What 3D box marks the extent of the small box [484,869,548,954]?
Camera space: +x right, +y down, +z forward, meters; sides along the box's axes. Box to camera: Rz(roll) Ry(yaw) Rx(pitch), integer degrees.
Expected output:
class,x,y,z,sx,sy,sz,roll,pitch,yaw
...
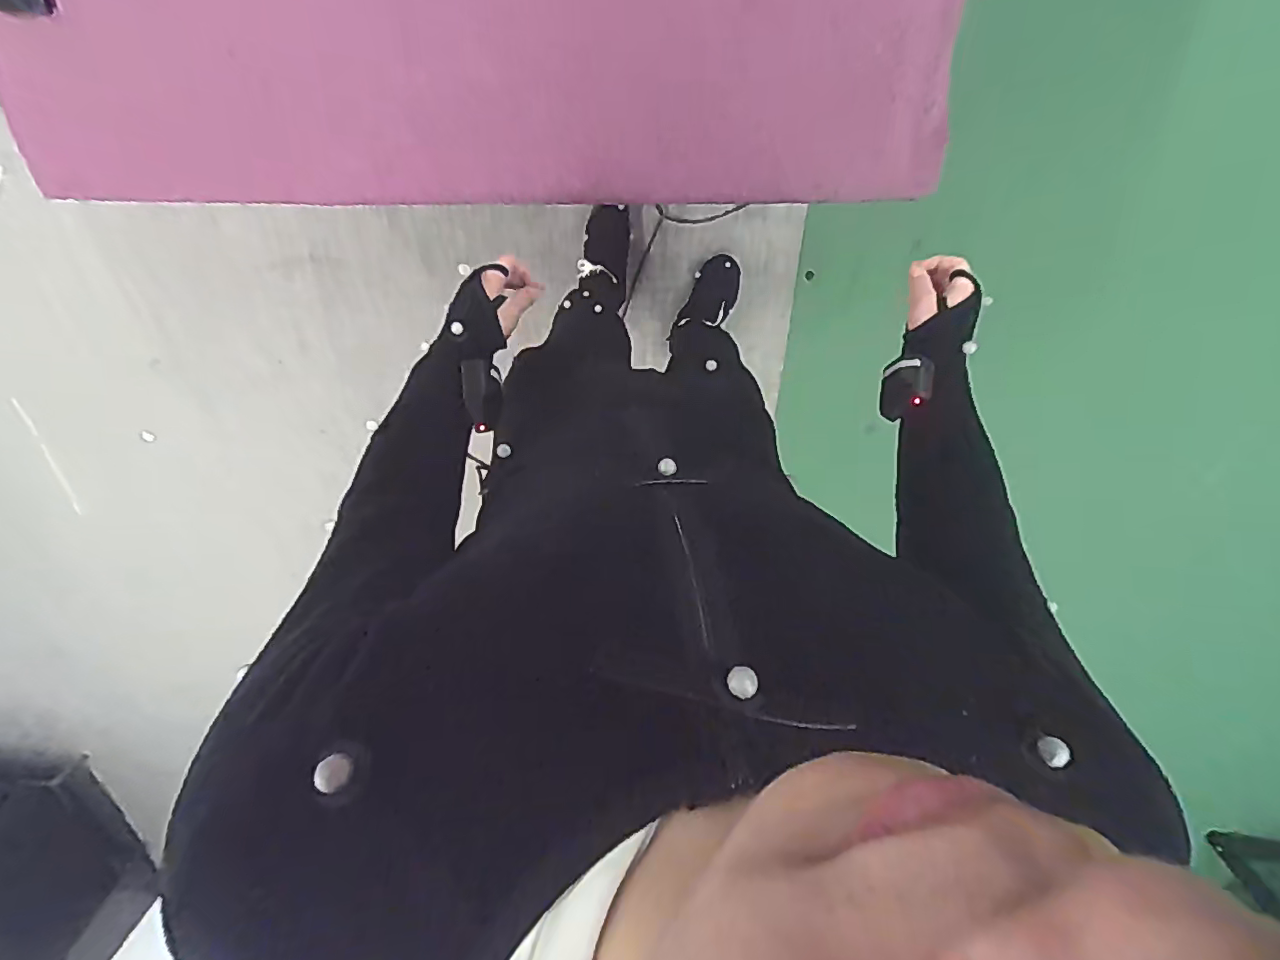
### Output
class,x,y,z,sx,sy,sz,roll,pitch,yaw
small box,-0.408,1.433,1.788,0.168,0.176,0.179,10,118,1

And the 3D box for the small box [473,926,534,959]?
class,x,y,z,sx,sy,sz,roll,pitch,yaw
small box,-0.426,1.508,1.644,0.168,0.176,0.179,9,118,1
